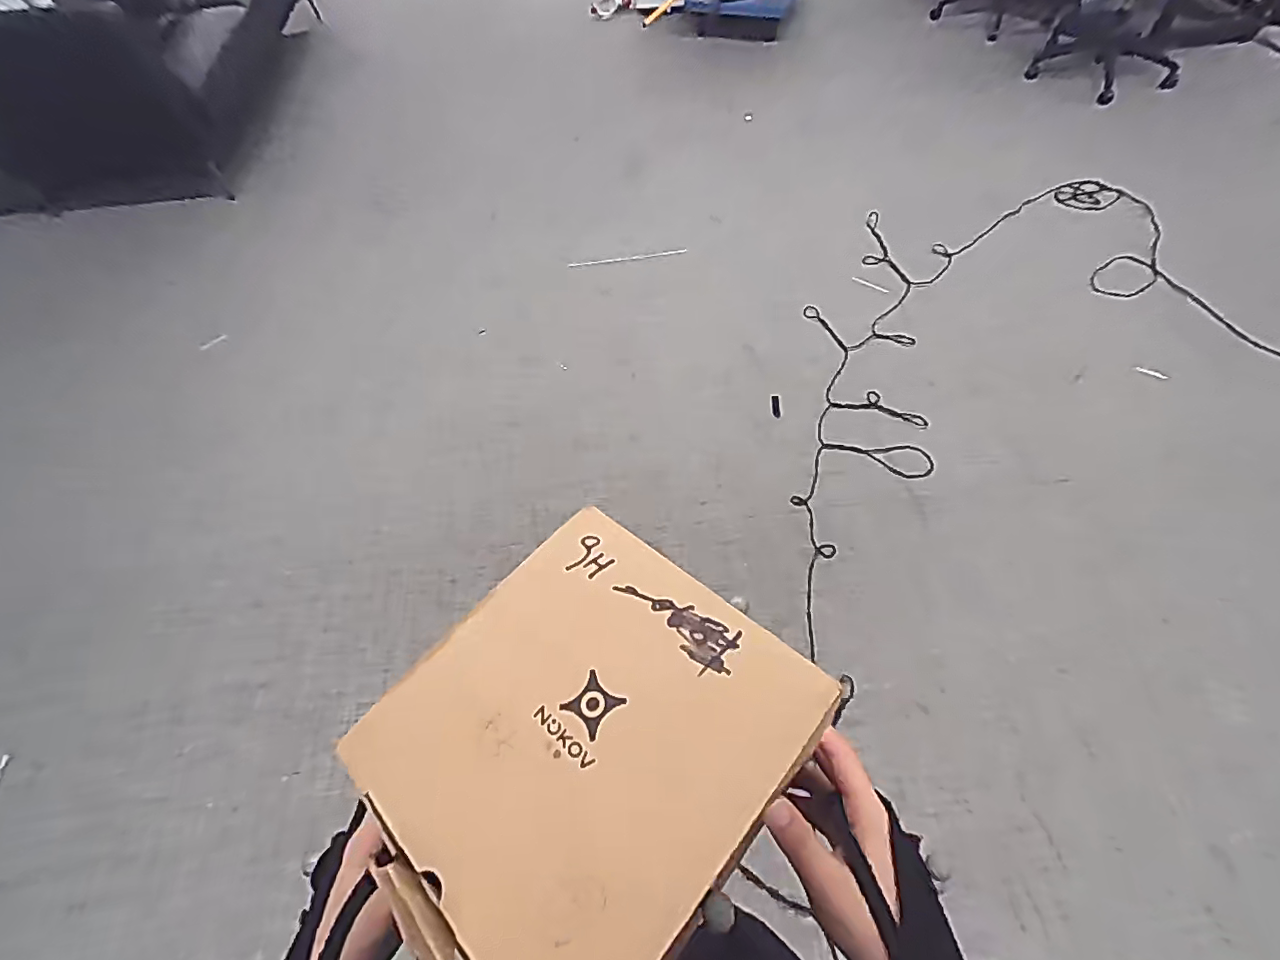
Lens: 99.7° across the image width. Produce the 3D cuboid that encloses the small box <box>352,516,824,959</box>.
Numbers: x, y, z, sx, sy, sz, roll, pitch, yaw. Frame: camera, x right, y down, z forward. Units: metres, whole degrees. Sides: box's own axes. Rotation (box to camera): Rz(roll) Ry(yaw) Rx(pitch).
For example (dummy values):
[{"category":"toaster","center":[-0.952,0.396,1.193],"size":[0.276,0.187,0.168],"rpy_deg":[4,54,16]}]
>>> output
[{"category":"small box","center":[-0.015,0.162,0.318],"size":[0.168,0.176,0.179],"rpy_deg":[32,66,29]}]
